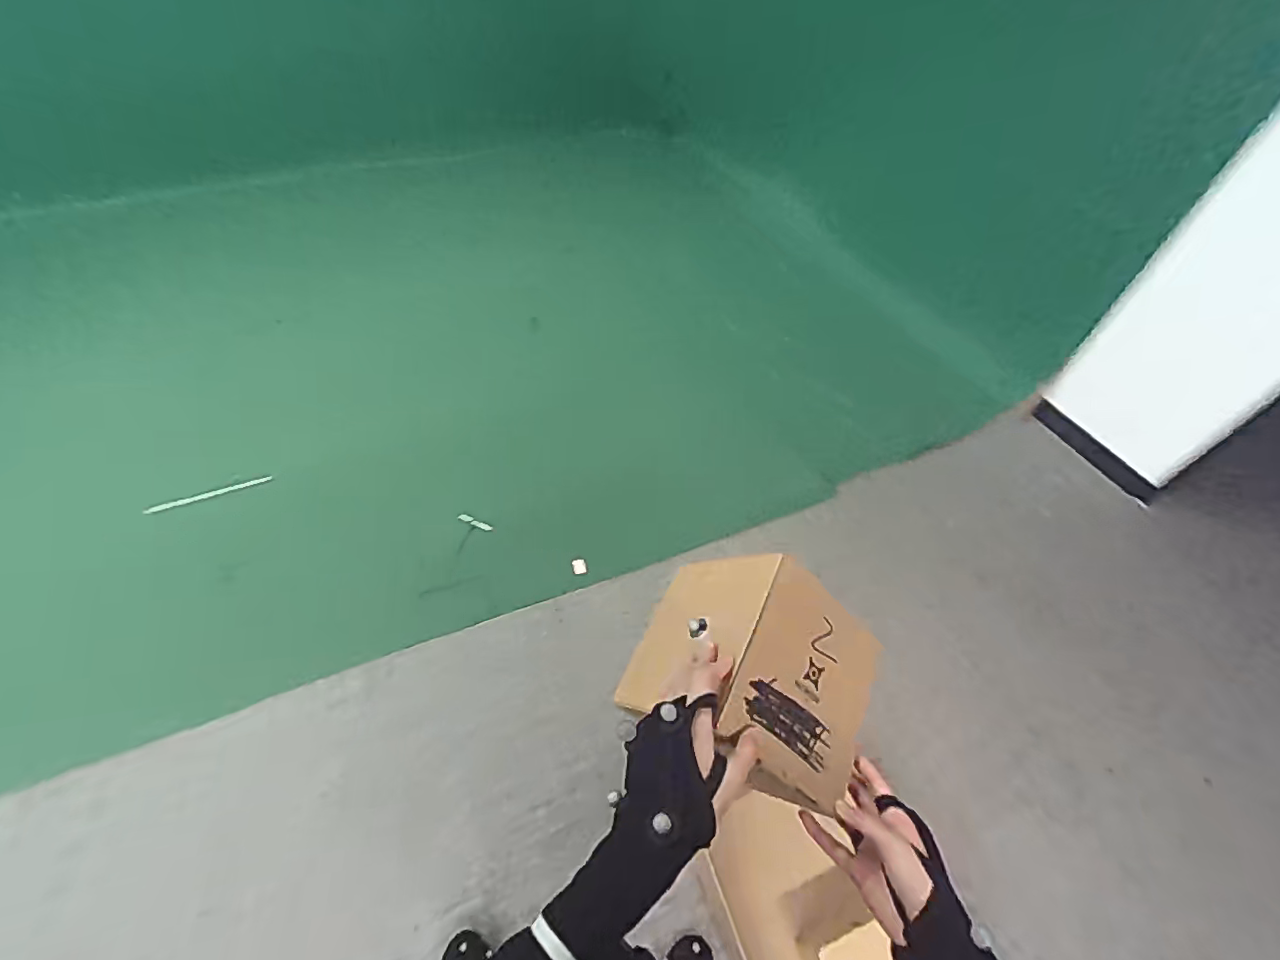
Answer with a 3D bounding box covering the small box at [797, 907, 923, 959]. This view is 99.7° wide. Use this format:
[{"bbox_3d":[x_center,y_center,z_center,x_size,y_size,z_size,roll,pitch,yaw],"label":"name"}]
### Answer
[{"bbox_3d":[0.417,0.915,0.994,0.179,0.176,0.168,-16,53,-12],"label":"small box"}]
